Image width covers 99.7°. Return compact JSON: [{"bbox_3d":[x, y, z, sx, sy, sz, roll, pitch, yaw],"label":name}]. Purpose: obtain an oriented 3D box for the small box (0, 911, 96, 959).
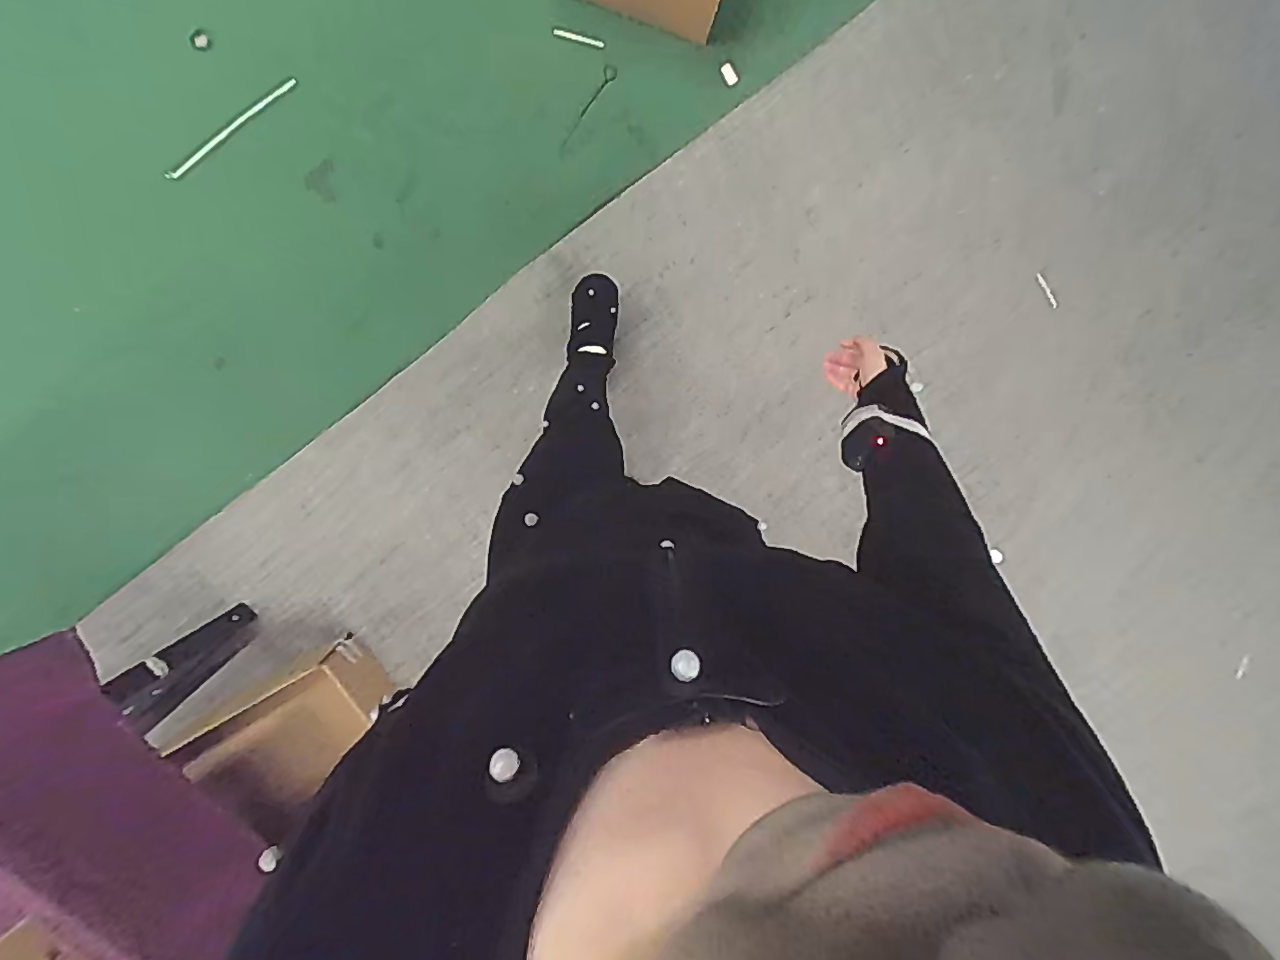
[{"bbox_3d":[-0.860,0.720,0.698,0.179,0.176,0.168,-37,101,2],"label":"small box"}]
